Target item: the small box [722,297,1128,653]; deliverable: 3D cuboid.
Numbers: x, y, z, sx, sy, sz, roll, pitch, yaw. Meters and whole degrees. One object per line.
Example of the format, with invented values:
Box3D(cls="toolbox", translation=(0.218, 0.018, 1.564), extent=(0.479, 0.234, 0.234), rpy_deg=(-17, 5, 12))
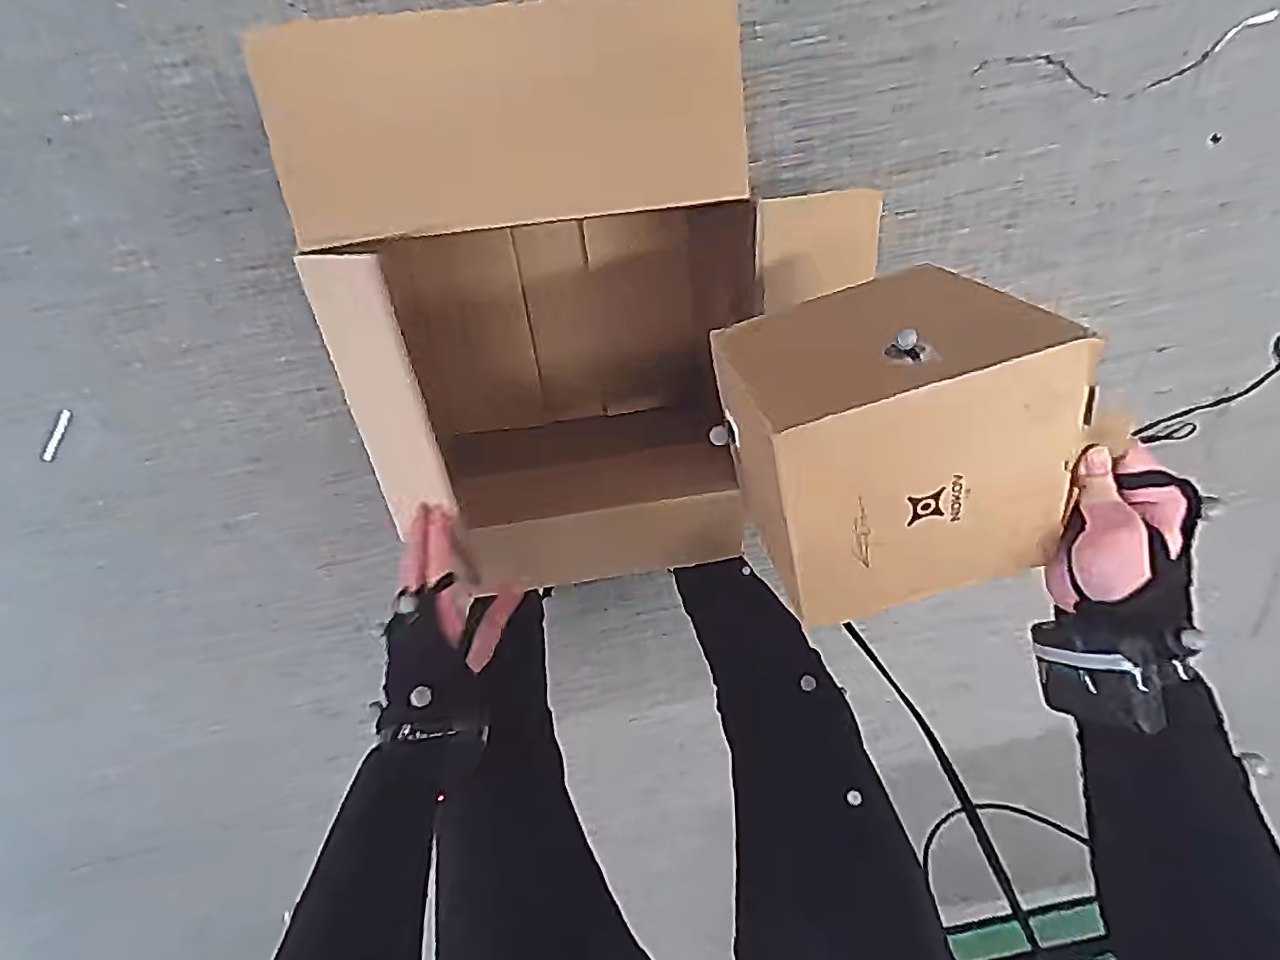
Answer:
Box3D(cls="small box", translation=(0.170, -0.014, 0.381), extent=(0.179, 0.176, 0.168), rpy_deg=(-15, 121, 4))
